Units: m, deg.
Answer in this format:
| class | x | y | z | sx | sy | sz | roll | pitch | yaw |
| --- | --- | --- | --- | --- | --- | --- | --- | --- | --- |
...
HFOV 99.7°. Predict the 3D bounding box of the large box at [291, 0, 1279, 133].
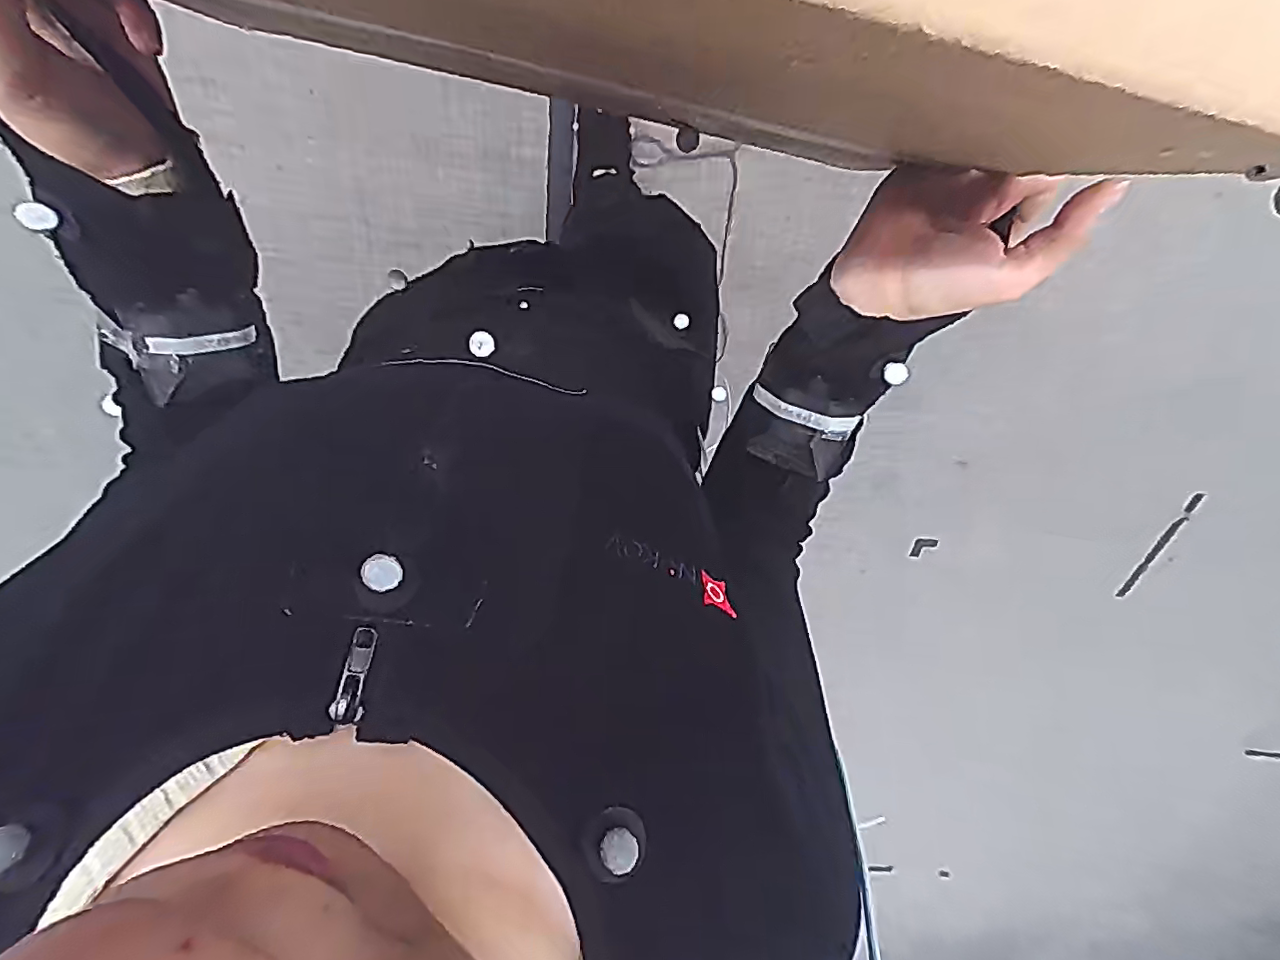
| class | x | y | z | sx | sy | sz | roll | pitch | yaw |
| --- | --- | --- | --- | --- | --- | --- | --- | --- | --- |
| large box | -0.004 | -0.318 | 0.141 | 0.408 | 0.320 | 0.320 | 6 | 121 | -10 |
